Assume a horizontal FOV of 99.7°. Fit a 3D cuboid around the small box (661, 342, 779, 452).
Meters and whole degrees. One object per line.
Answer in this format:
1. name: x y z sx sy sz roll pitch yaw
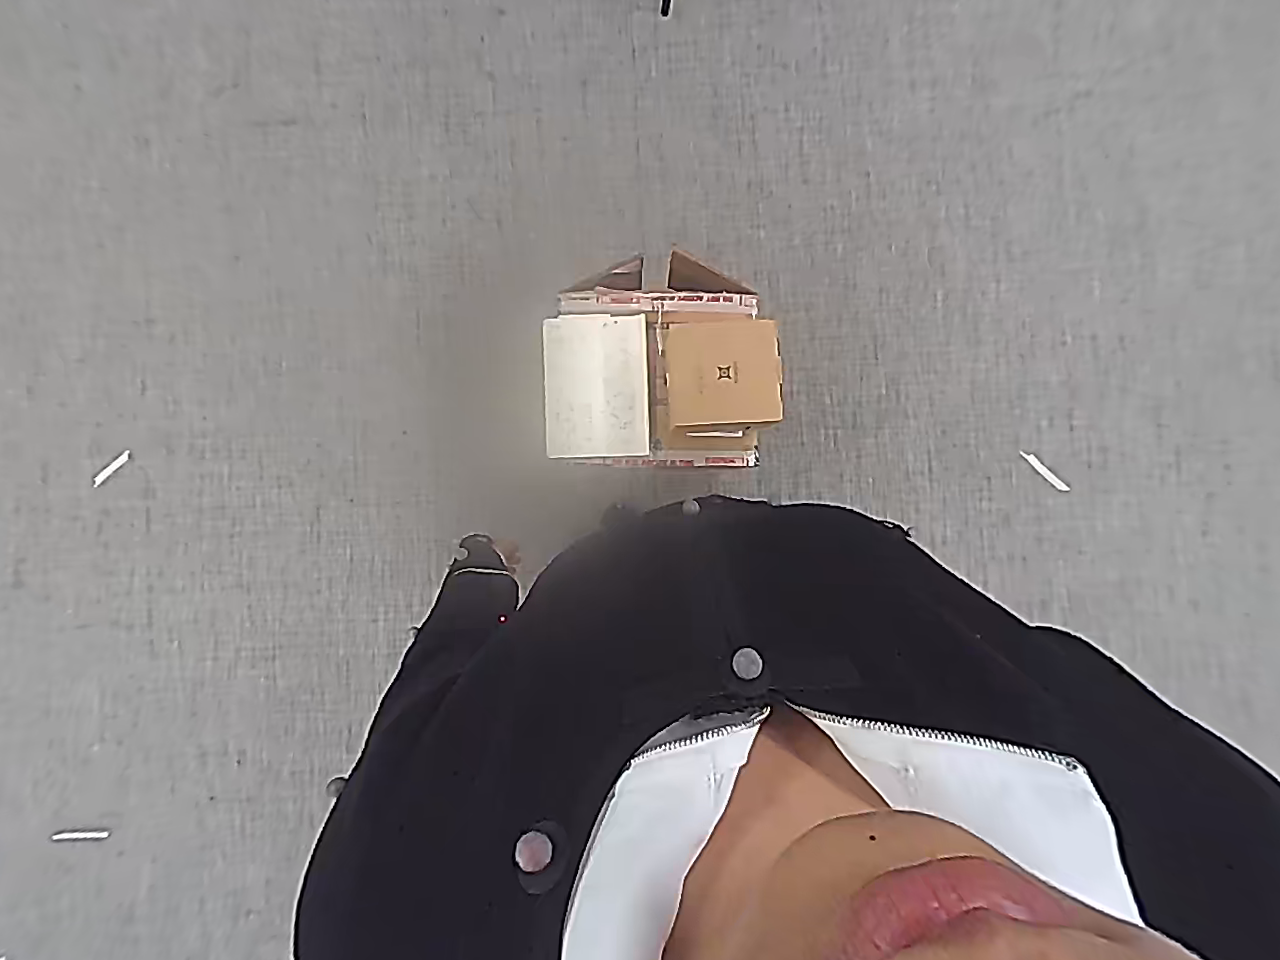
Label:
1. small box: 0.133 -0.140 0.957 0.179 0.176 0.168 -4 90 -1
